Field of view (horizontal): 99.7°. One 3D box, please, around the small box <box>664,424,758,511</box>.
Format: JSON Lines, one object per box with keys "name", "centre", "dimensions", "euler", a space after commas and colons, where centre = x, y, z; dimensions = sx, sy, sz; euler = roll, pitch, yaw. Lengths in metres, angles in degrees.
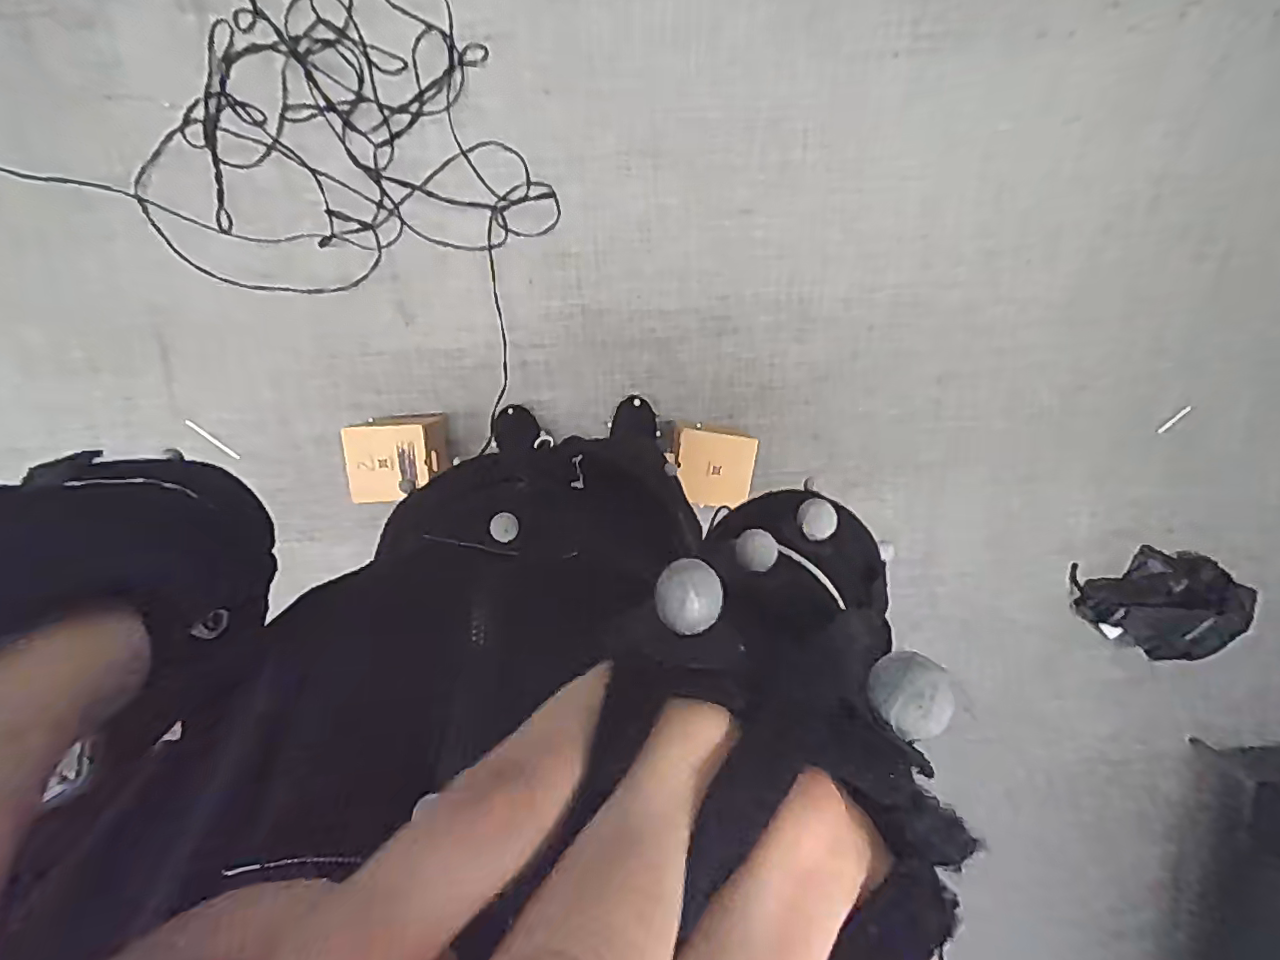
{"name": "small box", "centre": [0.161, -0.035, 1.282], "dimensions": [0.179, 0.176, 0.168], "euler": [7, 102, -4]}
